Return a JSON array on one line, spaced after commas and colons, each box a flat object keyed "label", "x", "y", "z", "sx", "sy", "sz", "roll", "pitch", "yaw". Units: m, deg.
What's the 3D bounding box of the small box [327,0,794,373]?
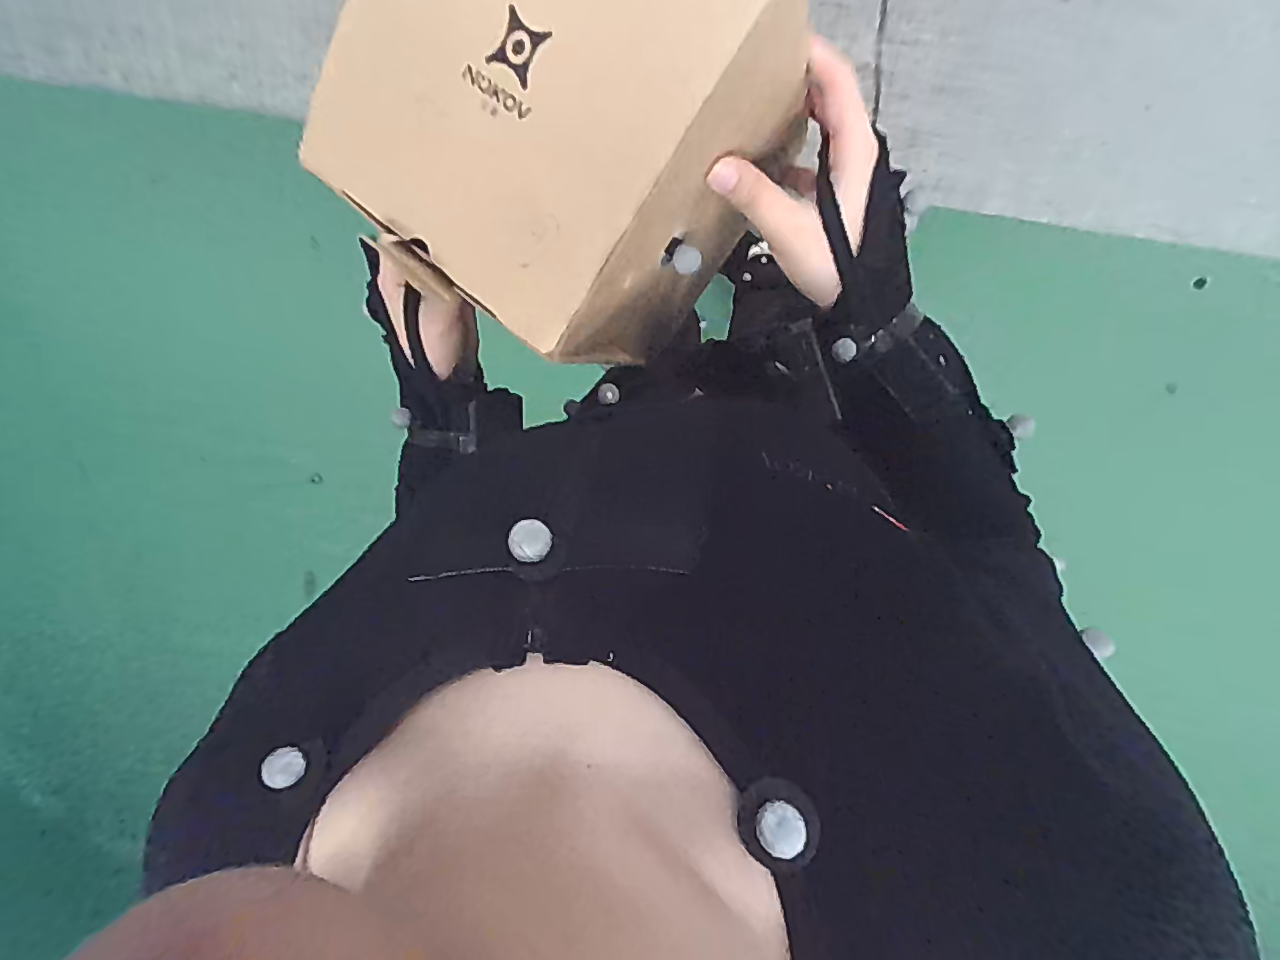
[{"label": "small box", "x": -0.026, "y": -0.179, "z": 0.311, "sx": 0.168, "sy": 0.176, "sz": 0.179, "roll": 40, "pitch": 110, "yaw": 7}]
